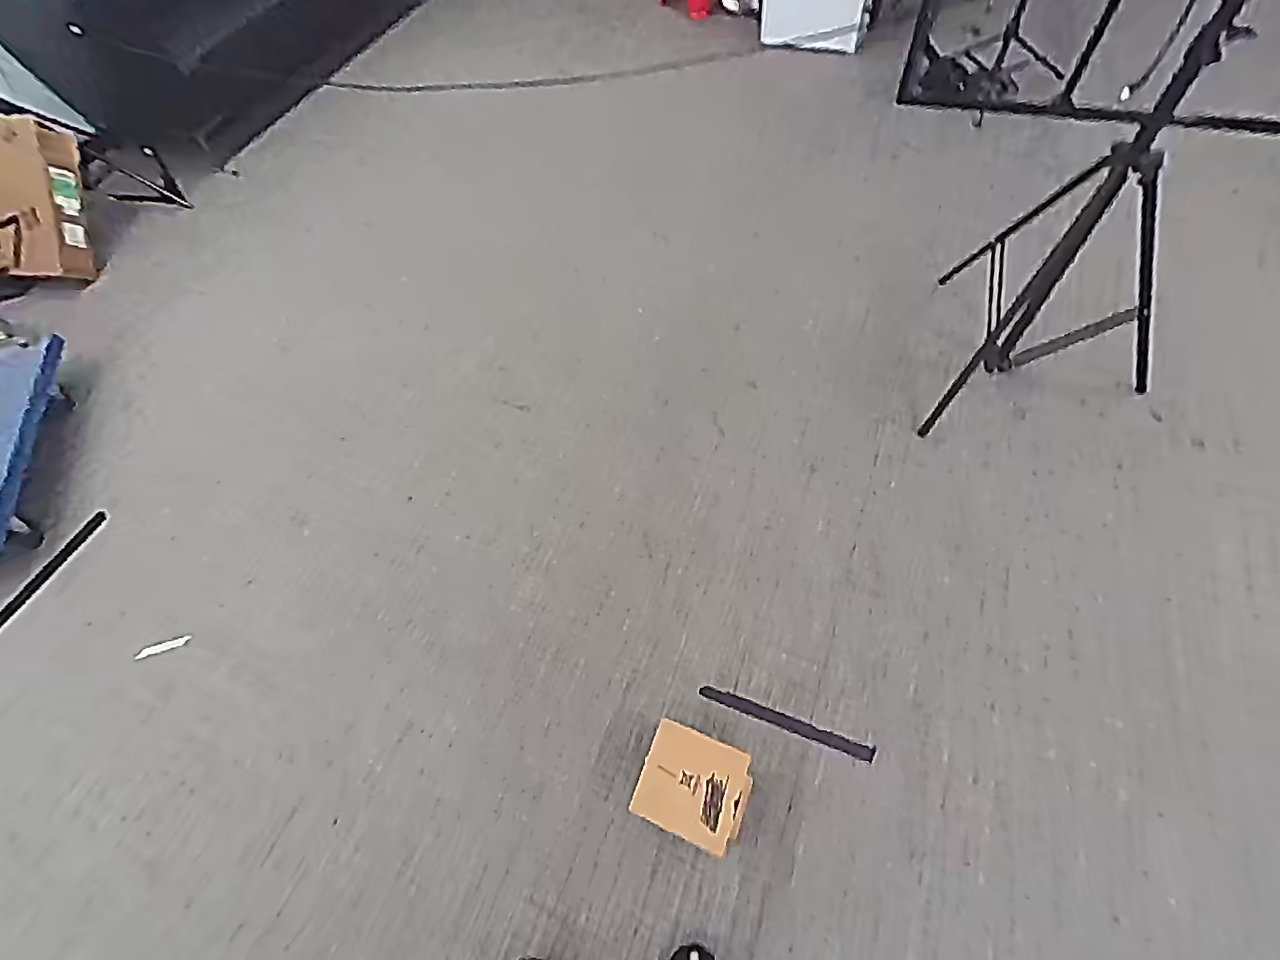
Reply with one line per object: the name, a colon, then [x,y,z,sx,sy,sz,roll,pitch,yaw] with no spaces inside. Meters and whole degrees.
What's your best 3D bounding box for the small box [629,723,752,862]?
small box: [0.101,0.583,1.022,0.179,0.176,0.168,17,63,18]
